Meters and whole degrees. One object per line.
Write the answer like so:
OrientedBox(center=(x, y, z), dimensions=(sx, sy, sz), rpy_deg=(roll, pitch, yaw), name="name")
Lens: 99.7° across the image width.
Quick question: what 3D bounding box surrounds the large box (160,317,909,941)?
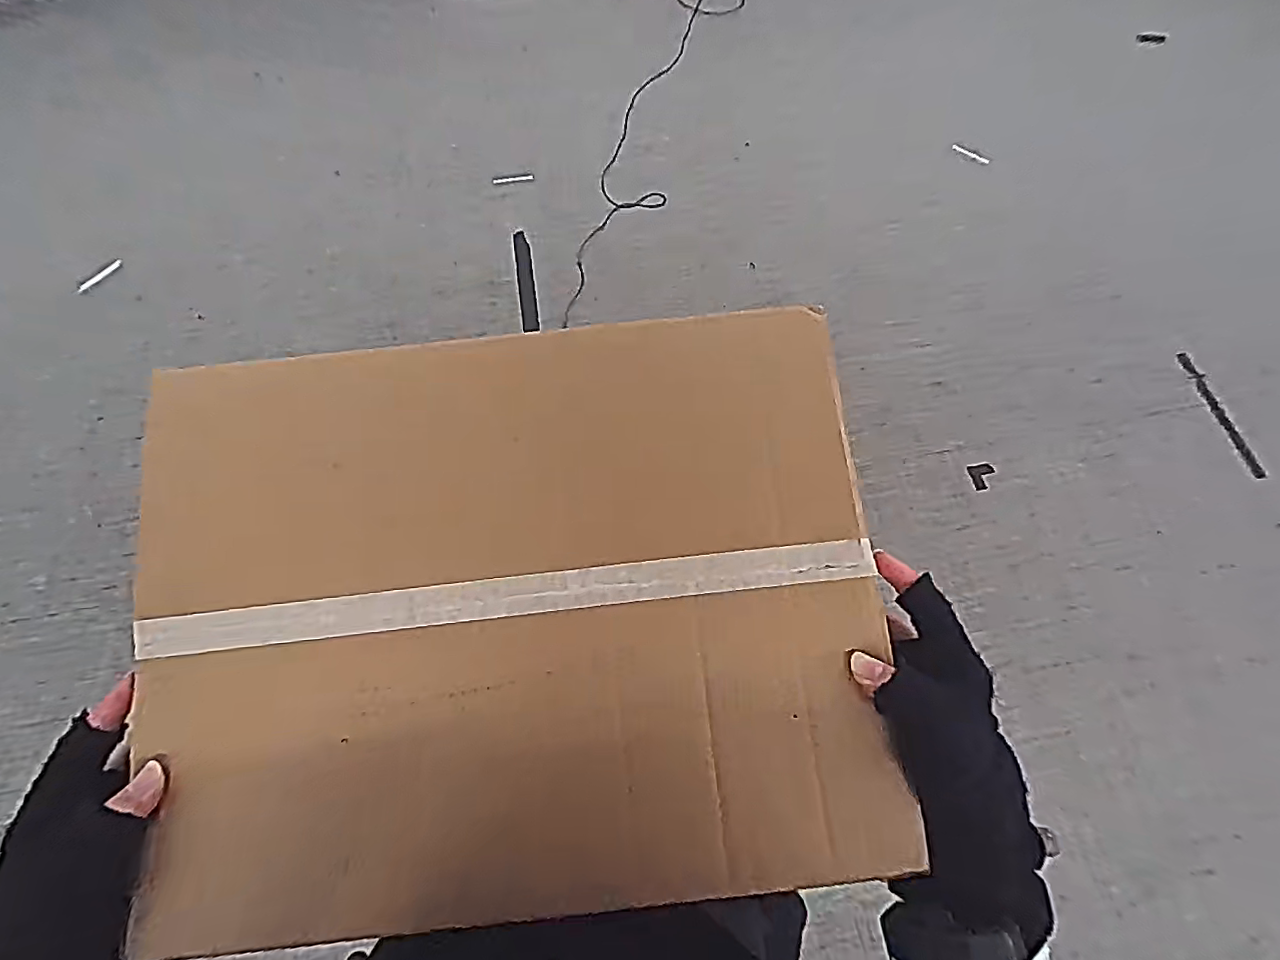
OrientedBox(center=(-0.069, 0.097, 0.457), dimensions=(0.408, 0.320, 0.320), rpy_deg=(-6, 80, 0), name="large box")
